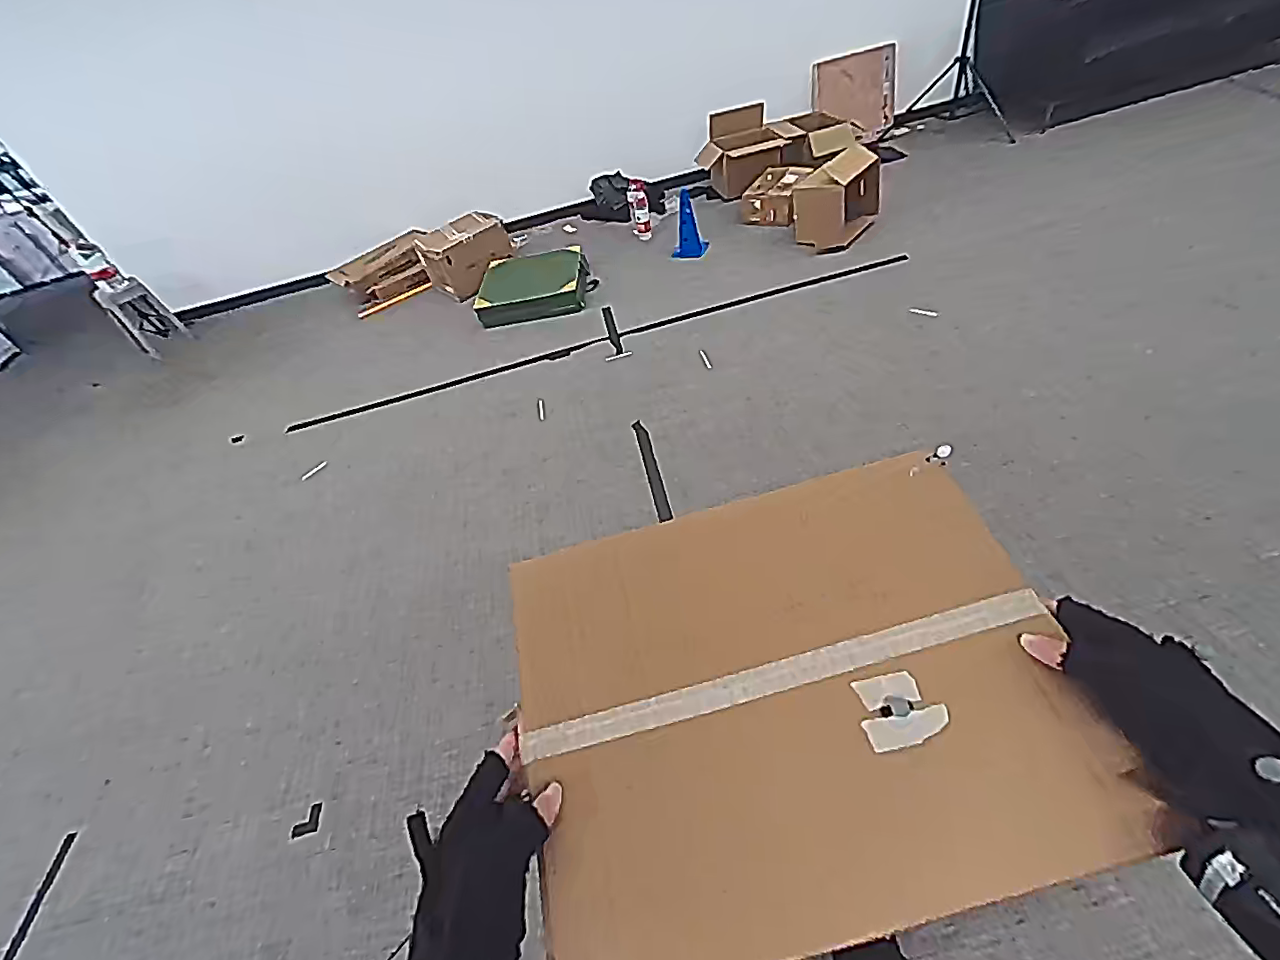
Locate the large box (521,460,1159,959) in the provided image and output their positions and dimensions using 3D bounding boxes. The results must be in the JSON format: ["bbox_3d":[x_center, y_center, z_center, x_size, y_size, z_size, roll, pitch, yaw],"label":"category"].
[{"bbox_3d":[0.133,0.238,0.550,0.408,0.320,0.320,-16,55,0],"label":"large box"}]
